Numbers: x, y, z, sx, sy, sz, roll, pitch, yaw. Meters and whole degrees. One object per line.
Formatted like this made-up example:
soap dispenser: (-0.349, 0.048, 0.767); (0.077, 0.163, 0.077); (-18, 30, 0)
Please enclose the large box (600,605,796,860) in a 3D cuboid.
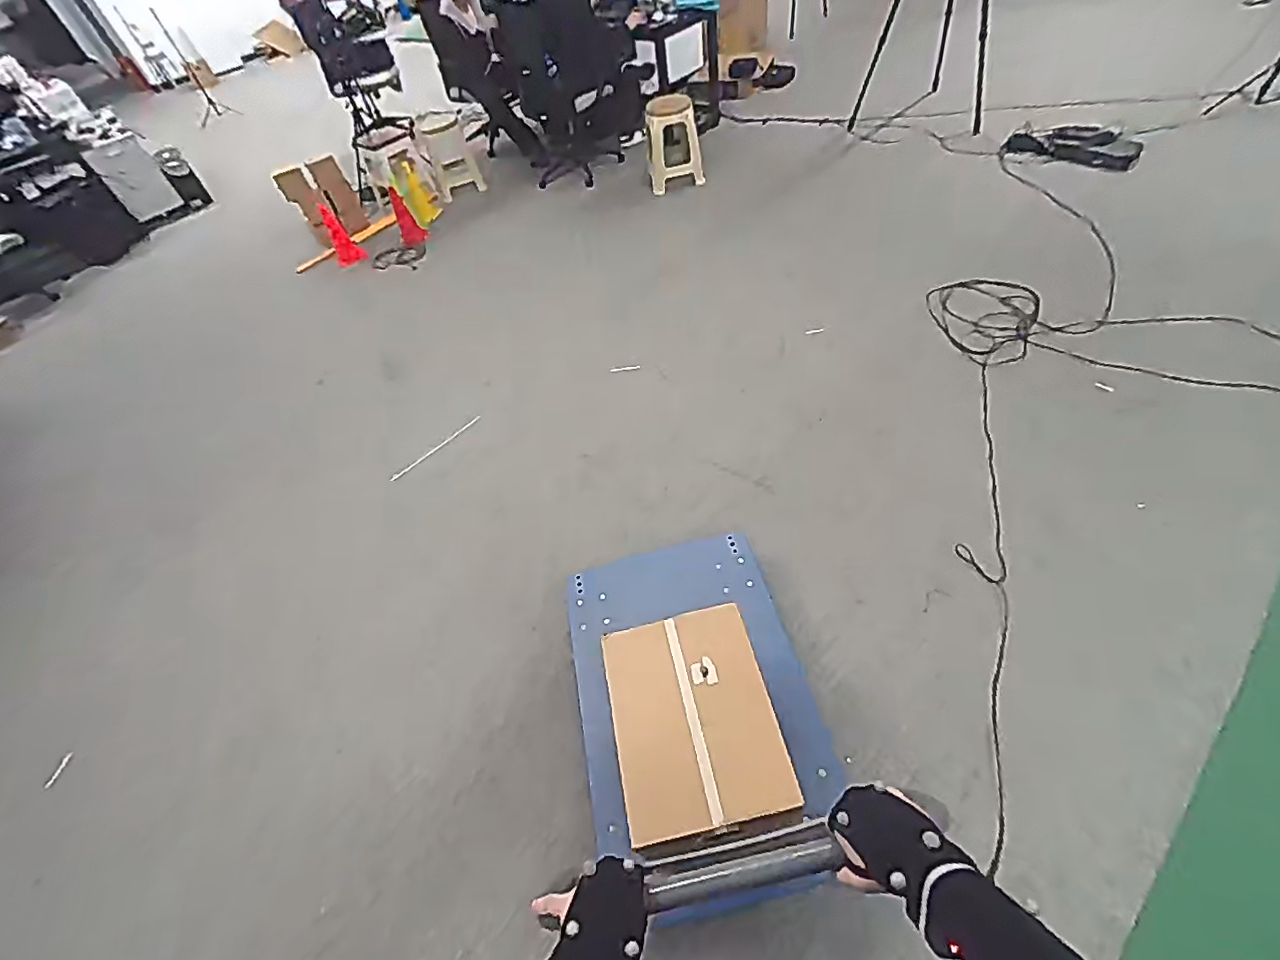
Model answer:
large box: (0.122, 0.558, 1.202); (0.320, 0.320, 0.408); (-14, 48, 0)
